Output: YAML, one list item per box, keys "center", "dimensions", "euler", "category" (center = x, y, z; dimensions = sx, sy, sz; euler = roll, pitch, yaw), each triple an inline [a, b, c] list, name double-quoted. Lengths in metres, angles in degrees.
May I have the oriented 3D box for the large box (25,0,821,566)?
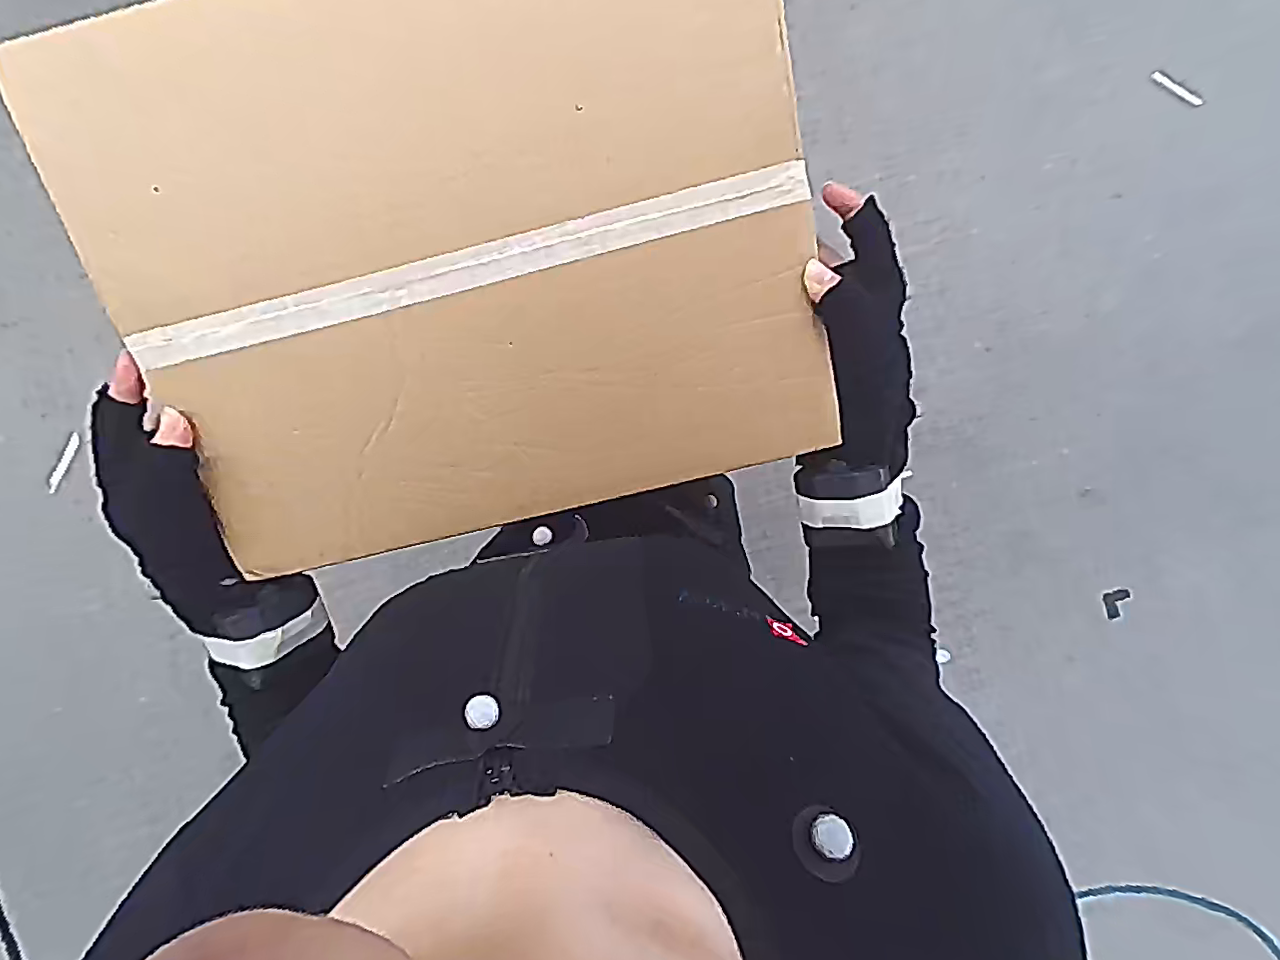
- center: [-0.108, -0.171, 0.466]
  dimensions: [0.408, 0.320, 0.320]
  euler: [-13, 106, 2]
  category: "large box"
